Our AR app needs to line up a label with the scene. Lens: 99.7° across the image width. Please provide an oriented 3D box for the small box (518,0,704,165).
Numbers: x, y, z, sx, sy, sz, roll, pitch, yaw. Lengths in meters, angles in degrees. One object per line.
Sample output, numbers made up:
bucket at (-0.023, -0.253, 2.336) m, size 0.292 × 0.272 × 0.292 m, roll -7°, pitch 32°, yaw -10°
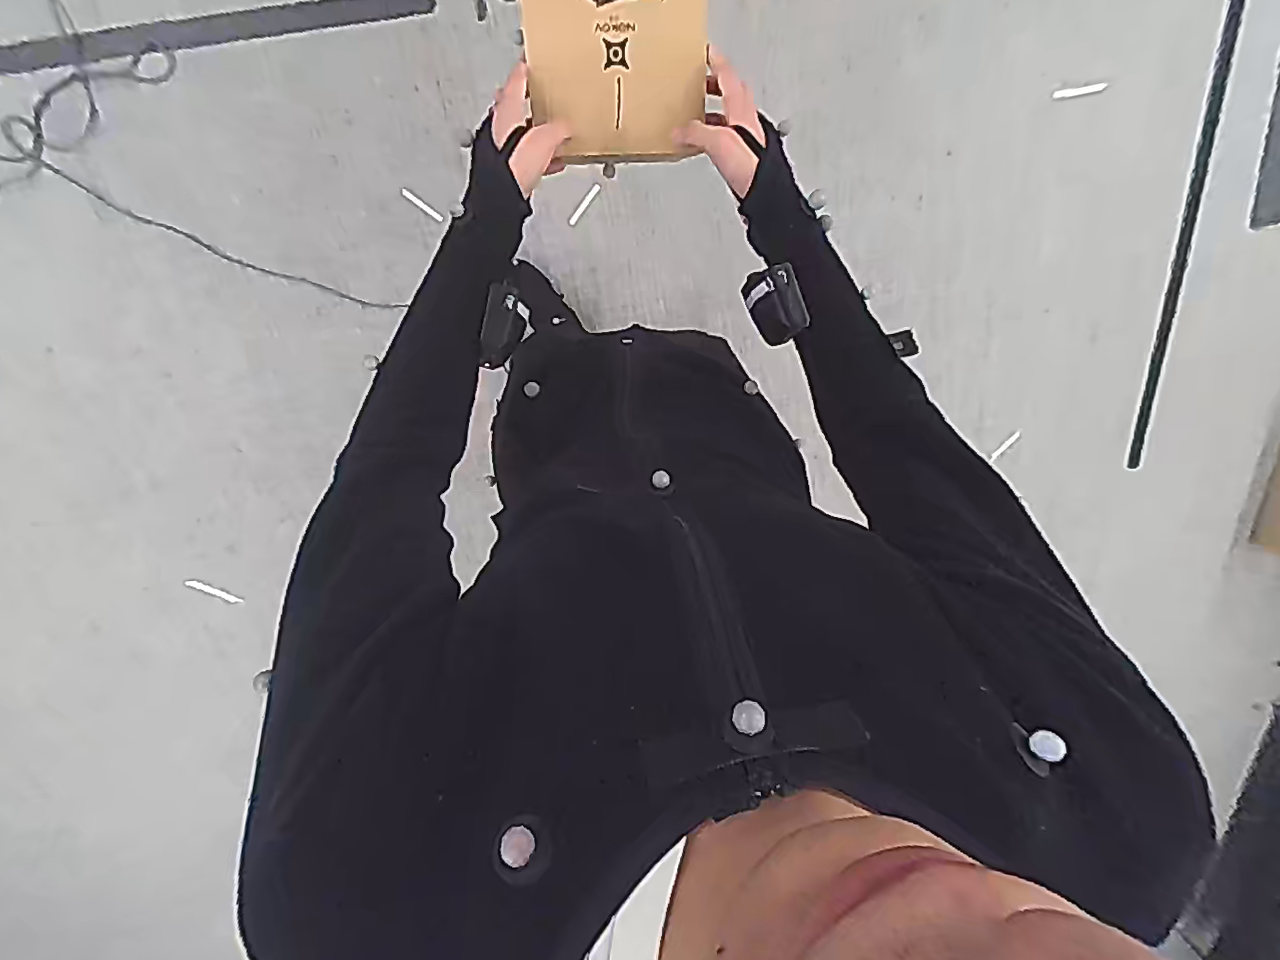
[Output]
small box at (-0.033, -0.428, 0.552) m, size 0.168 × 0.176 × 0.179 m, roll -4°, pitch 119°, yaw -4°
